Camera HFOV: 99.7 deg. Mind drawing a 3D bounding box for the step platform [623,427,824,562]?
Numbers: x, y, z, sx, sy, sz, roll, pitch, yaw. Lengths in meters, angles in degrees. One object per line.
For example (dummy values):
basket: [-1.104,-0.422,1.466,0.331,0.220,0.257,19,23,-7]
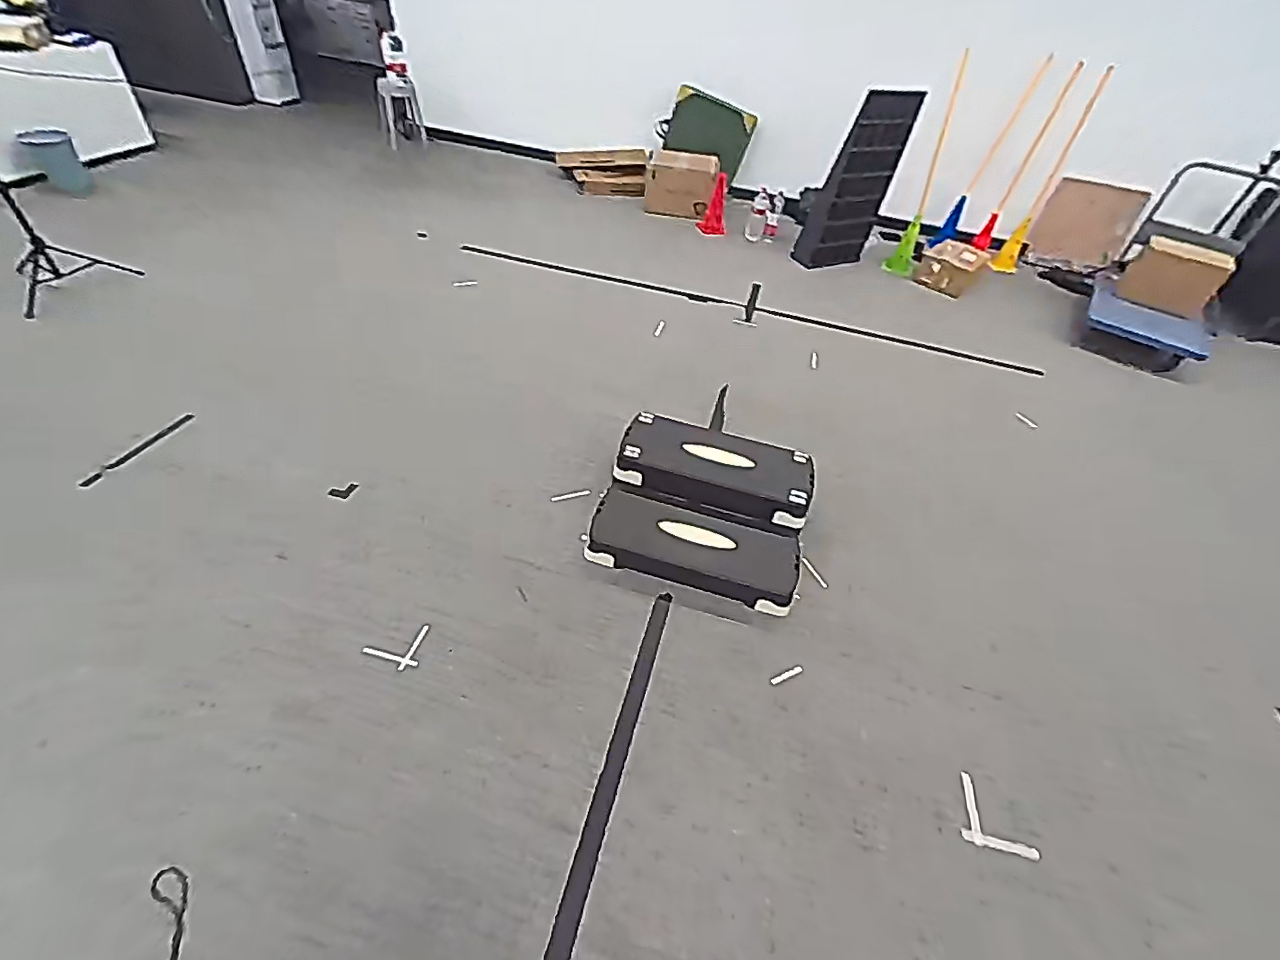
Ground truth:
step platform: [0.292,0.038,1.913,0.684,0.204,0.286,18,44,10]
